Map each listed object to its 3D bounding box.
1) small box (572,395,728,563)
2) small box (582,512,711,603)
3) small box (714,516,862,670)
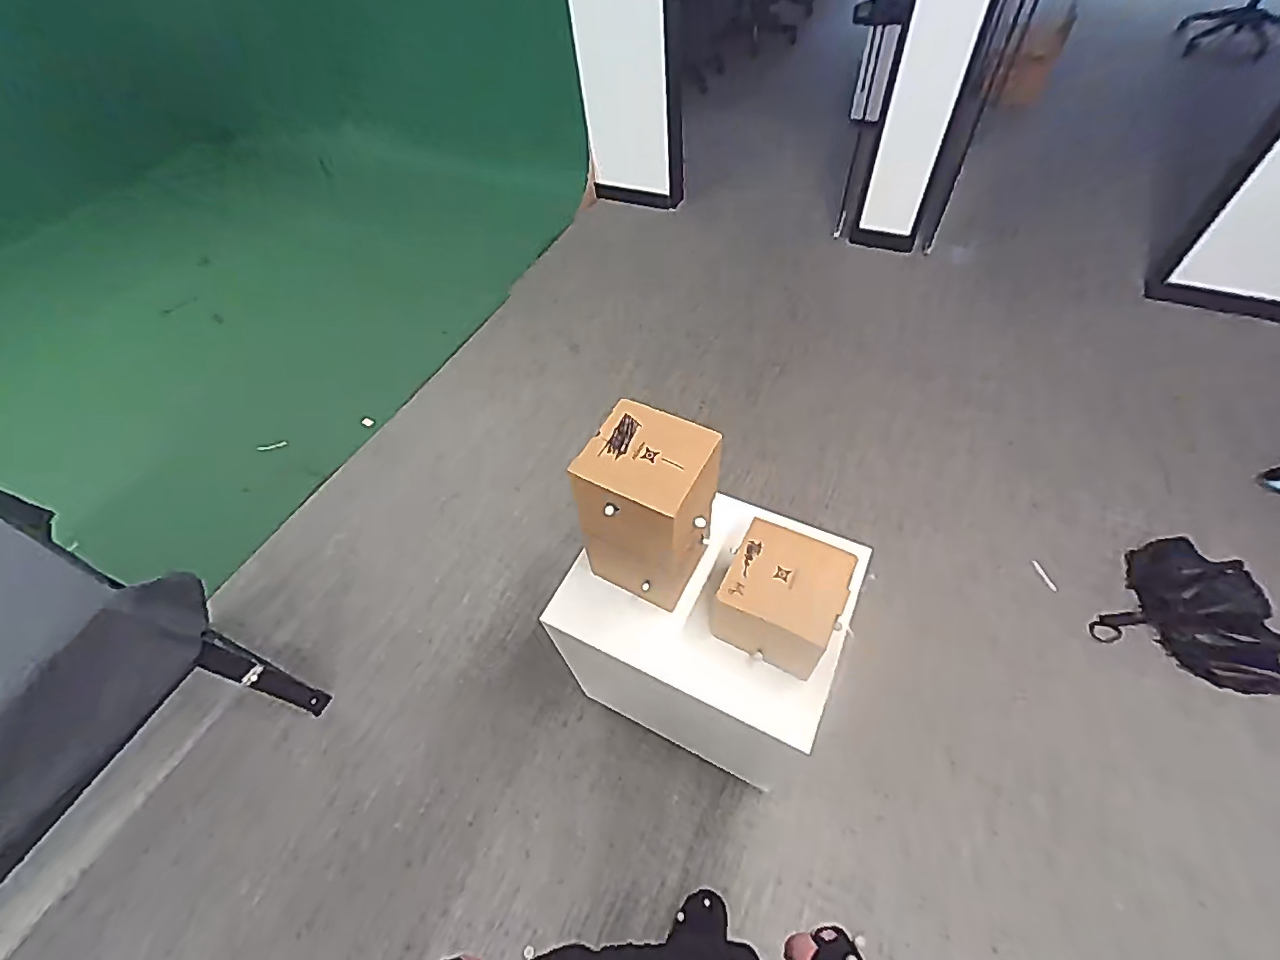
[{"bbox_3d":[0.018,0.003,0.844,0.179,0.176,0.168,24,60,17],"label":"small box"},{"bbox_3d":[0.020,0.100,0.977,0.179,0.176,0.168,22,58,19],"label":"small box"},{"bbox_3d":[0.236,0.193,0.894,0.179,0.176,0.168,23,60,18],"label":"small box"}]
